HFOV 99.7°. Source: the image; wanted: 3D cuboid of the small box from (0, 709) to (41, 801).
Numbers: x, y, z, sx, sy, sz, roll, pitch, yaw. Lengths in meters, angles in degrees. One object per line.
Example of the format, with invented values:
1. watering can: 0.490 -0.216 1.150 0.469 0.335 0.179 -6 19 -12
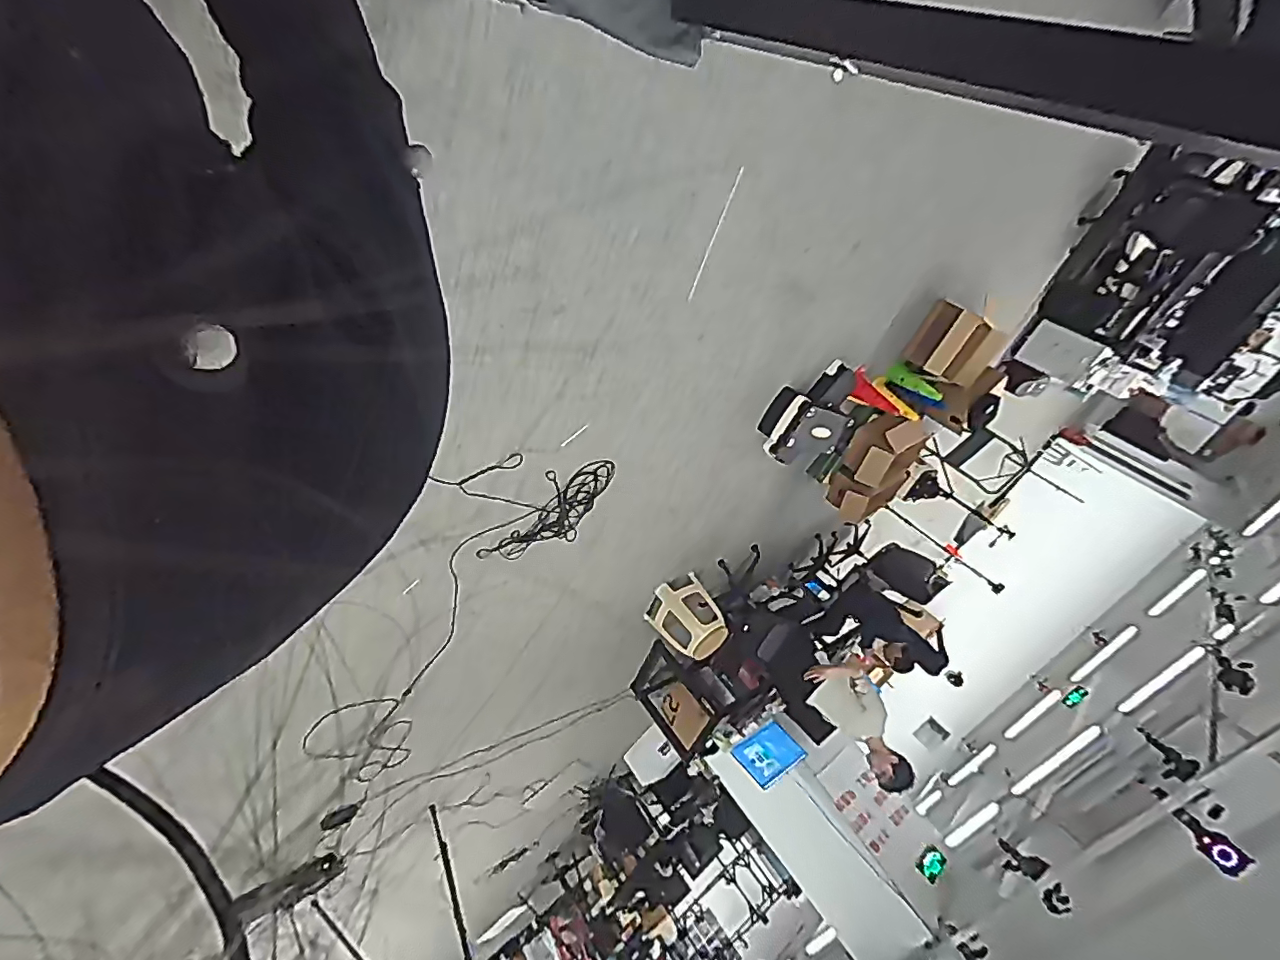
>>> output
1. small box: -1.712 0.728 1.409 0.168 0.176 0.179 -14 136 -38
